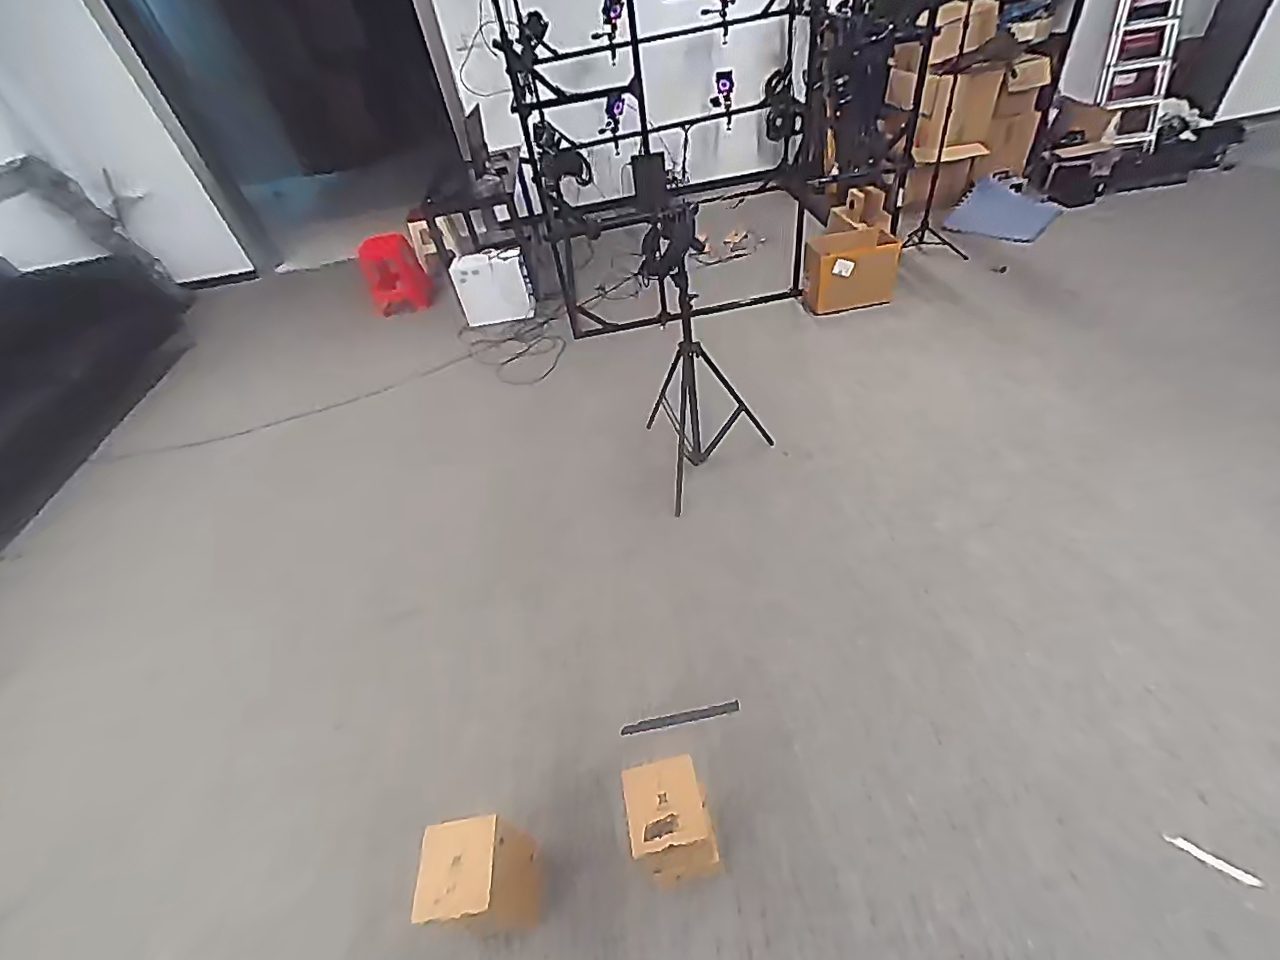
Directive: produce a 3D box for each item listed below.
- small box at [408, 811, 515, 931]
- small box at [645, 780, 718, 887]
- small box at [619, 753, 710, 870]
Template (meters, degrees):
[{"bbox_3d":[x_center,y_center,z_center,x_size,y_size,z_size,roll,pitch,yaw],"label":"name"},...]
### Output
[{"bbox_3d":[-0.383,0.866,1.197,0.168,0.176,0.179,-11,43,2],"label":"small box"},{"bbox_3d":[0.091,0.877,1.332,0.168,0.176,0.179,-13,42,-2],"label":"small box"},{"bbox_3d":[0.057,0.756,1.226,0.168,0.176,0.179,-13,41,-2],"label":"small box"}]
